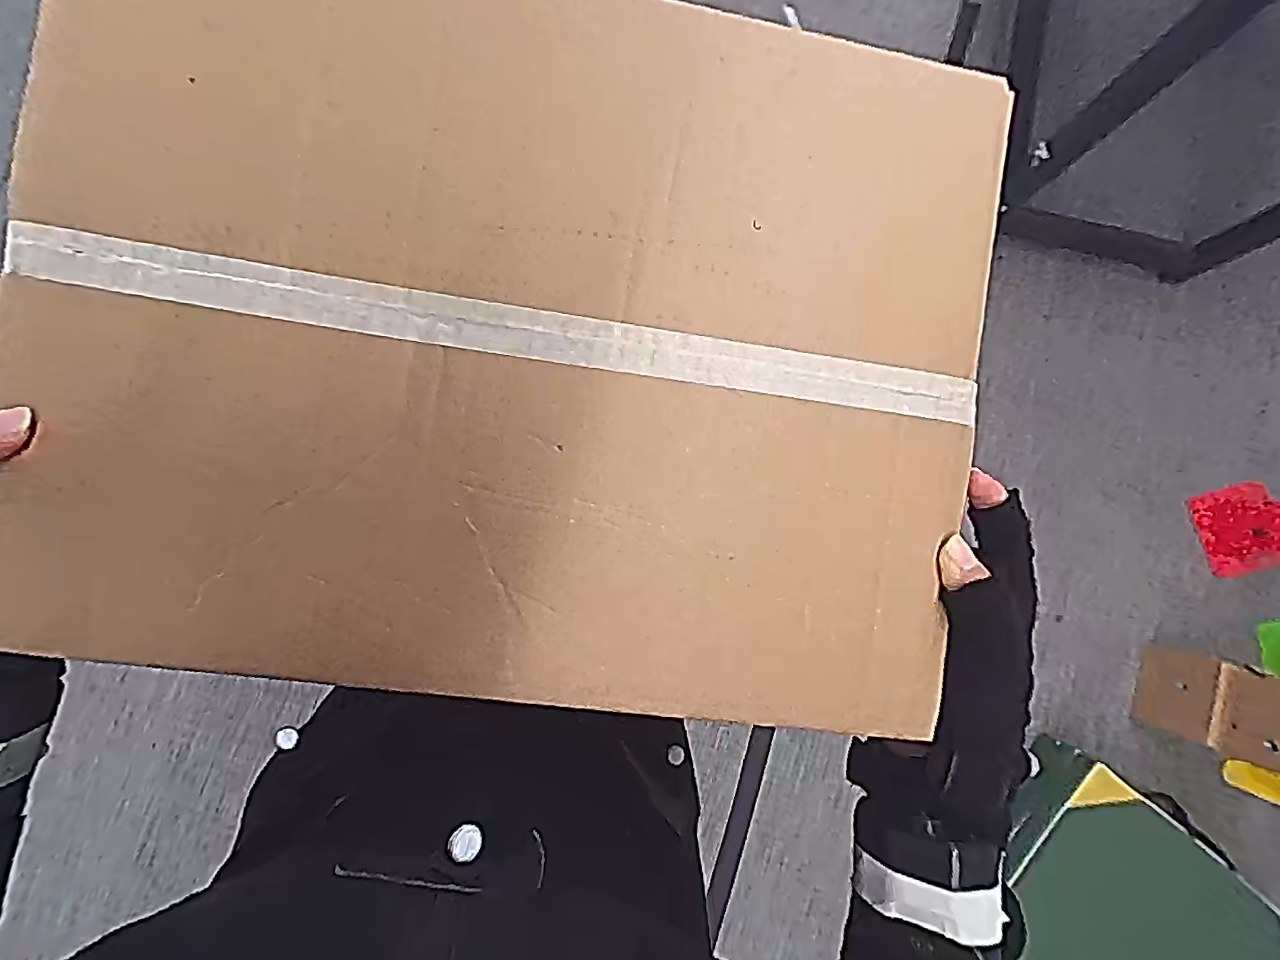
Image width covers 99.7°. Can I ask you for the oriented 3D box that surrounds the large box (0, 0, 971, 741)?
[{"bbox_3d":[-0.065,-0.049,0.387,0.408,0.320,0.320,7,88,-6],"label":"large box"}]
